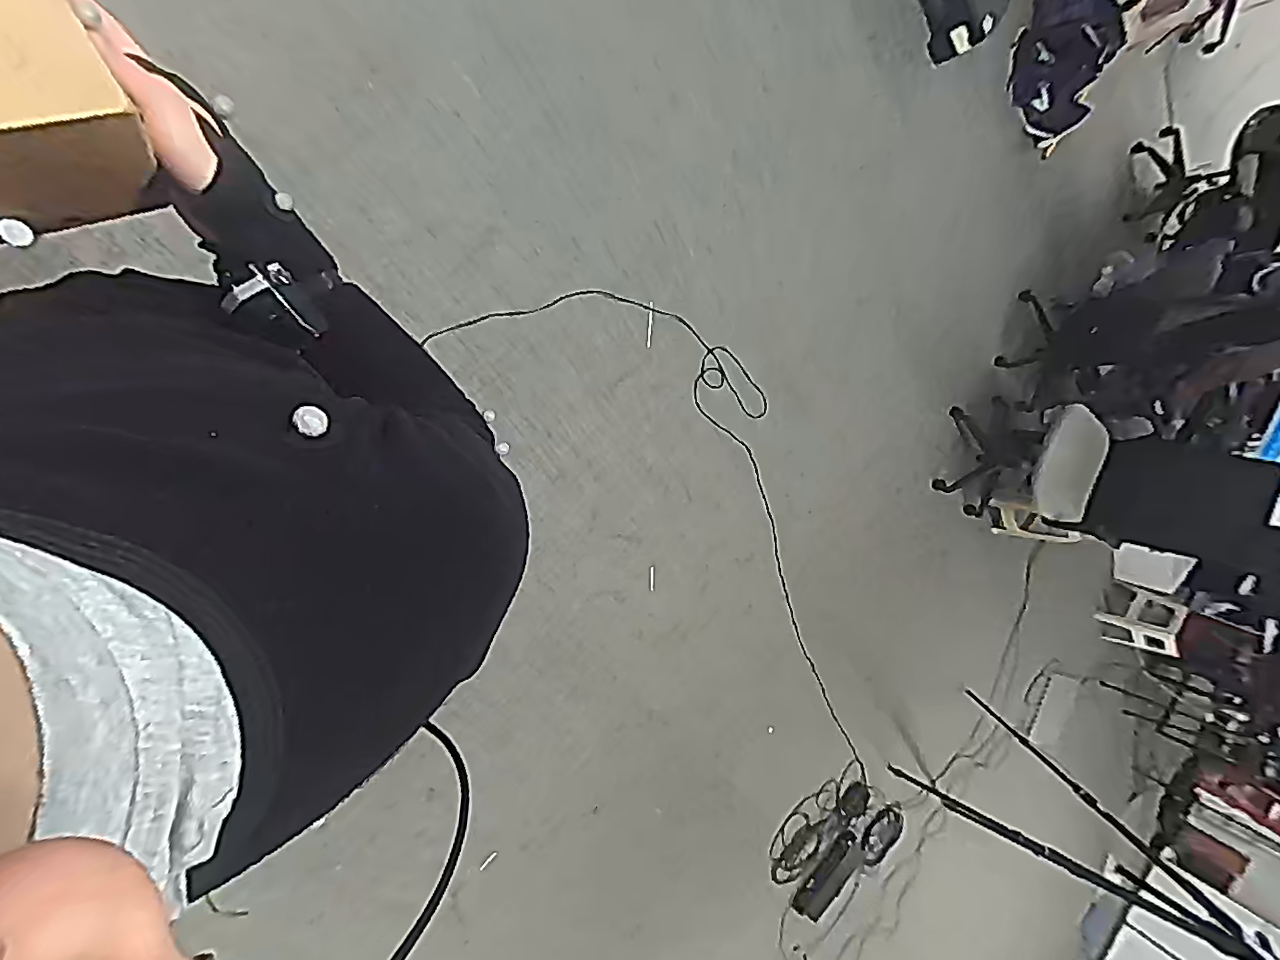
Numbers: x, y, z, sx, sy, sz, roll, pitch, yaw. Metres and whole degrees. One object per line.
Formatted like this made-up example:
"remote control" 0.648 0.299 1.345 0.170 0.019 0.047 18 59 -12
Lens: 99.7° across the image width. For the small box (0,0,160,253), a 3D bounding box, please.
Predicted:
"small box" -0.407 -0.233 0.287 0.168 0.176 0.179 -34 115 -29
